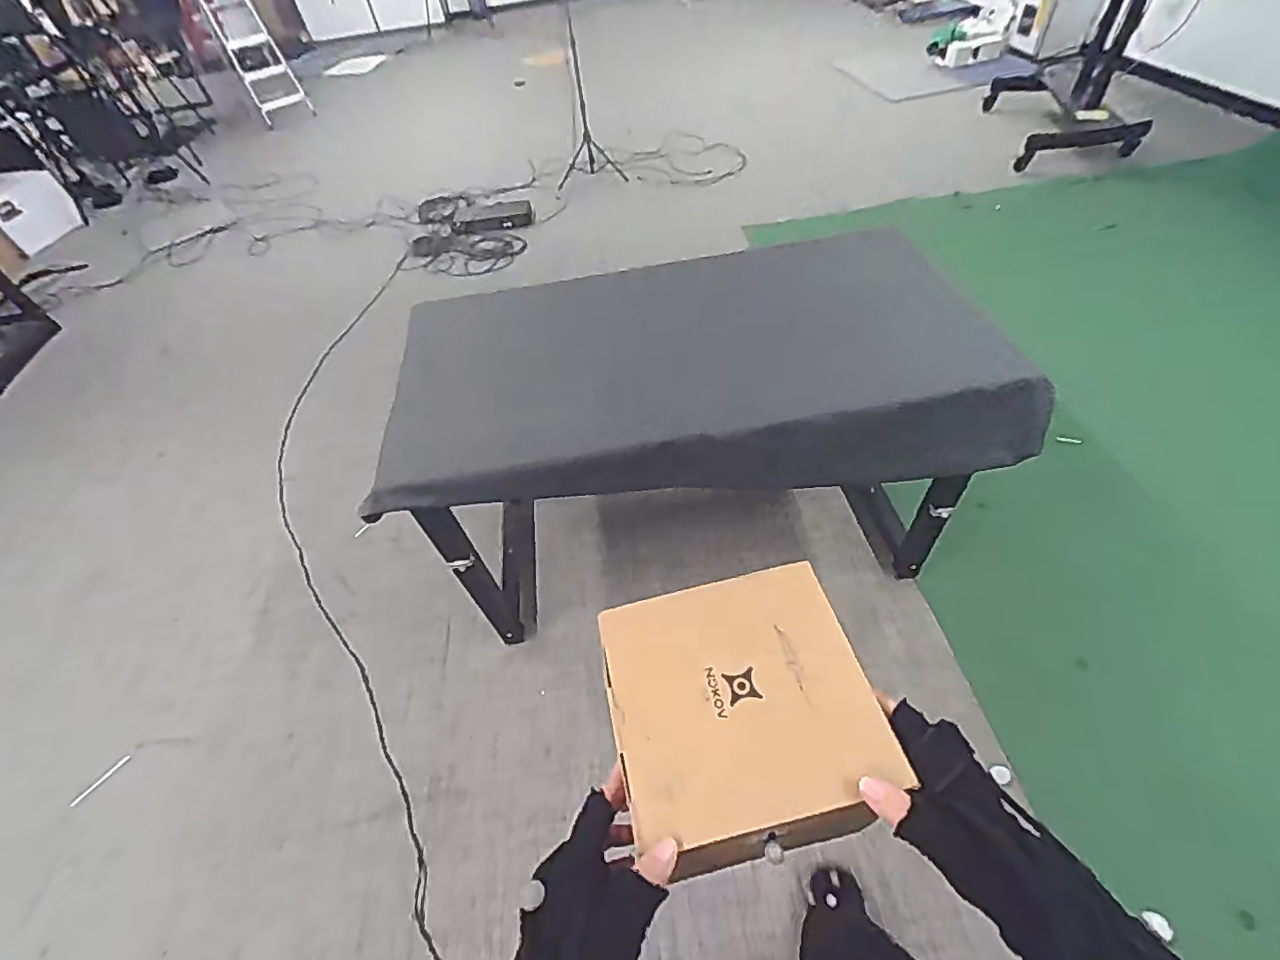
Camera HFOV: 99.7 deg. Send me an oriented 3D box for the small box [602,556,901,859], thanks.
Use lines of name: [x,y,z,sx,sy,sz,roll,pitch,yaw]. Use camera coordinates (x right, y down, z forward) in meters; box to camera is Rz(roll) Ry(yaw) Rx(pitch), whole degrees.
small box: [0.078,0.193,0.453,0.179,0.176,0.168,-14,49,-4]
